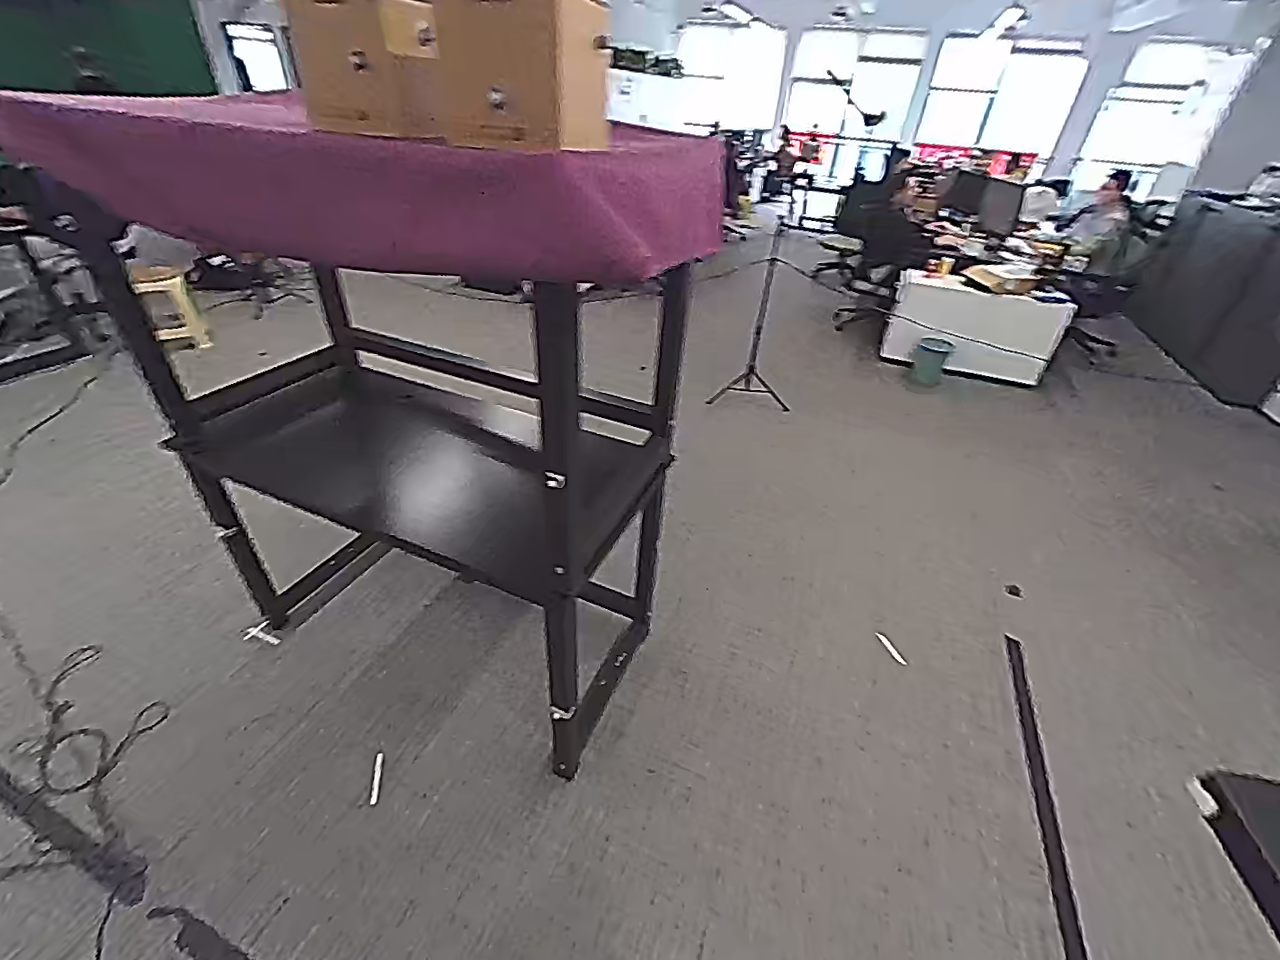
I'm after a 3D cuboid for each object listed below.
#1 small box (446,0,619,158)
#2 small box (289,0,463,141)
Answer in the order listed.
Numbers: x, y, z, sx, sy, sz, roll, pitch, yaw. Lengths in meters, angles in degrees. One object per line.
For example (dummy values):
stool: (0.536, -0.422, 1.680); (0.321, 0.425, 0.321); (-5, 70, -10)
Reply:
small box: (-0.136, -0.536, 0.719); (0.168, 0.176, 0.179); (12, 35, 12)
small box: (-0.371, -0.613, 0.811); (0.168, 0.176, 0.179); (15, 36, 14)
